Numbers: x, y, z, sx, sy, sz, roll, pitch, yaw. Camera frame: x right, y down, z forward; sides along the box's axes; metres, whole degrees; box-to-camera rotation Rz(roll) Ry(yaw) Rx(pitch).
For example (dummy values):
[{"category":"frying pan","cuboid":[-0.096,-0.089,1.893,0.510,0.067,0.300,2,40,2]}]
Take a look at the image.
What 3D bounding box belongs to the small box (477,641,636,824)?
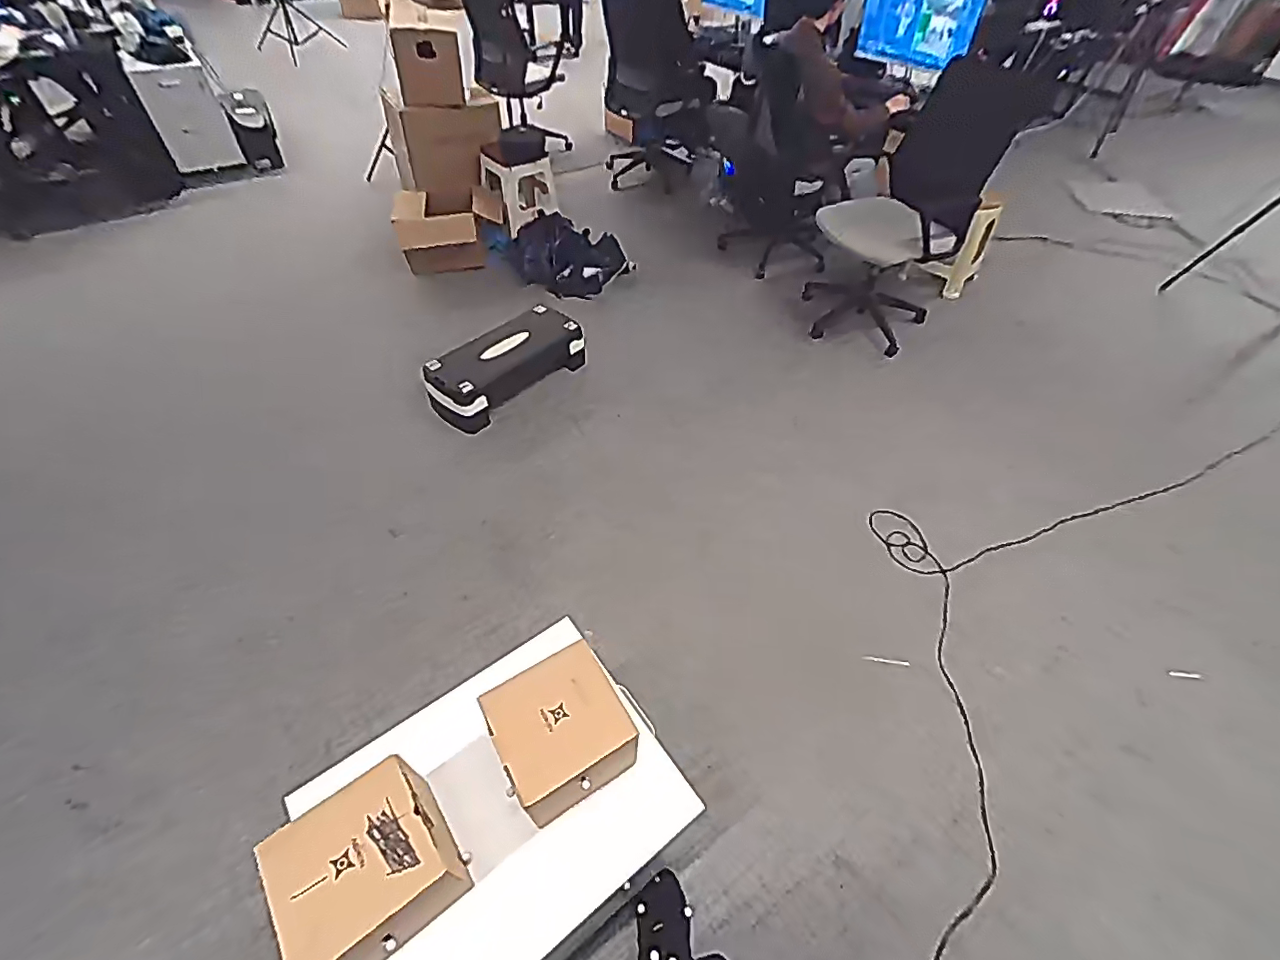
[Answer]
[{"category":"small box","cuboid":[-0.120,0.383,0.815,0.179,0.176,0.168,-24,56,-22]}]
